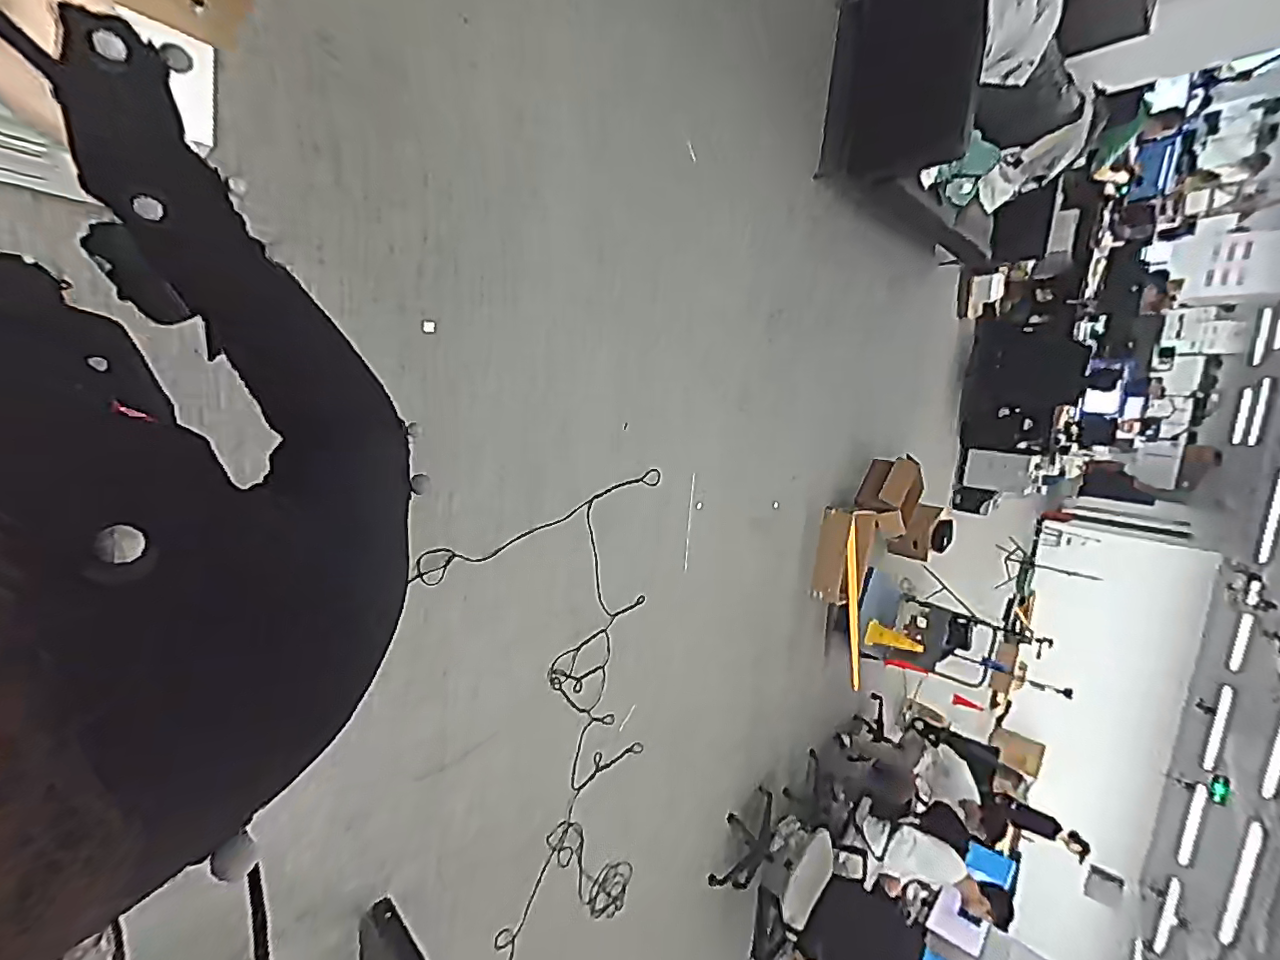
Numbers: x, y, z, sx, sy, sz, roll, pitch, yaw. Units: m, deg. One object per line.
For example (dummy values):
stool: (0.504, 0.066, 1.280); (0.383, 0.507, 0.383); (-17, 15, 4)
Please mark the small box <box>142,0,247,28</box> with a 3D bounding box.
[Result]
small box: (-0.509, -0.618, 0.556); (0.179, 0.176, 0.168); (0, 100, -45)
